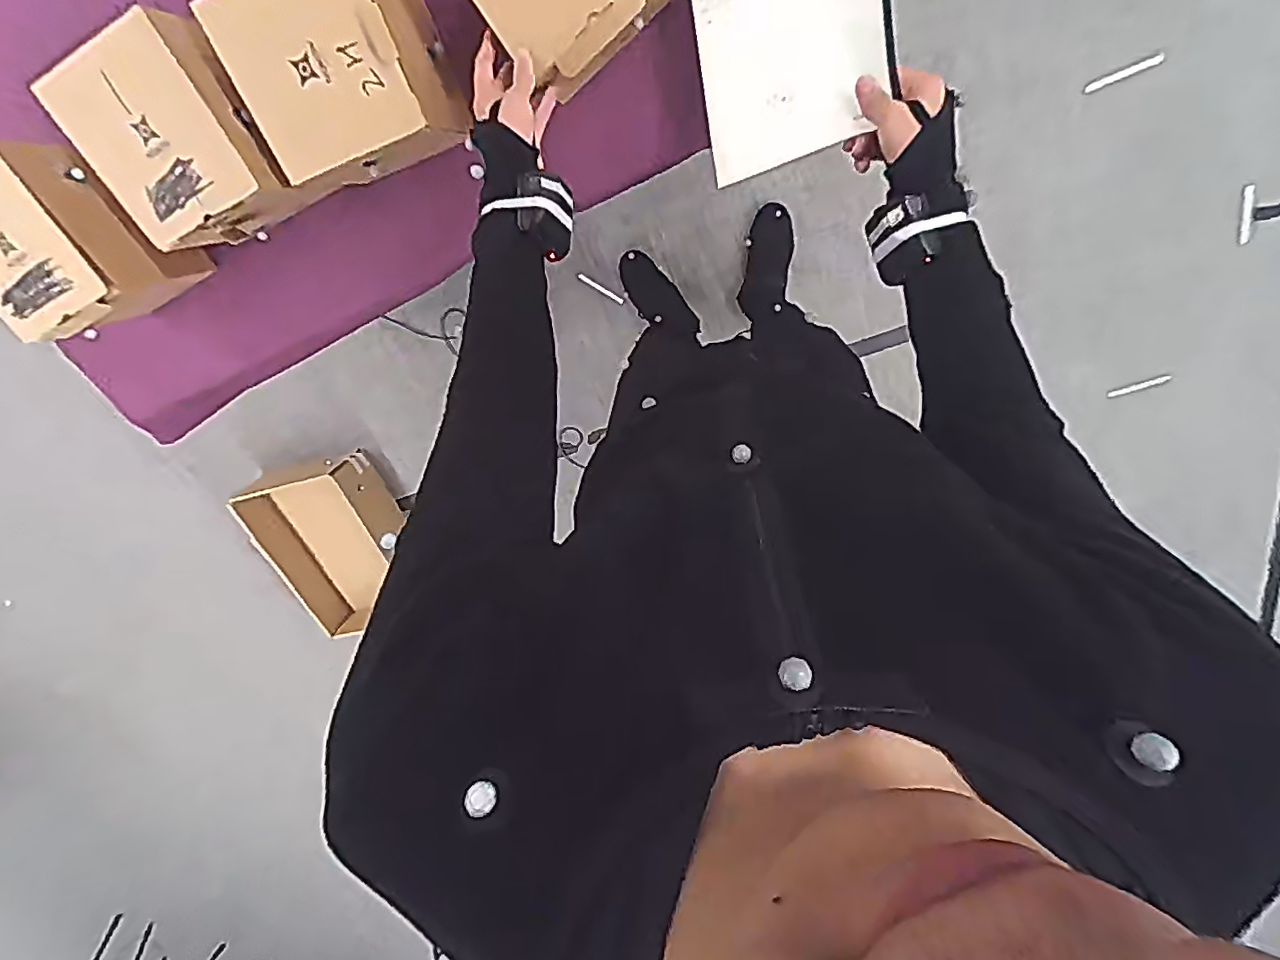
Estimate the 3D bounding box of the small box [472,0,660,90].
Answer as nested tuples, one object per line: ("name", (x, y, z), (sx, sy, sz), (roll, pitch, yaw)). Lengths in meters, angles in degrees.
("small box", (-0.089, -0.529, 0.540), (0.168, 0.176, 0.179), (-32, 112, 19))
